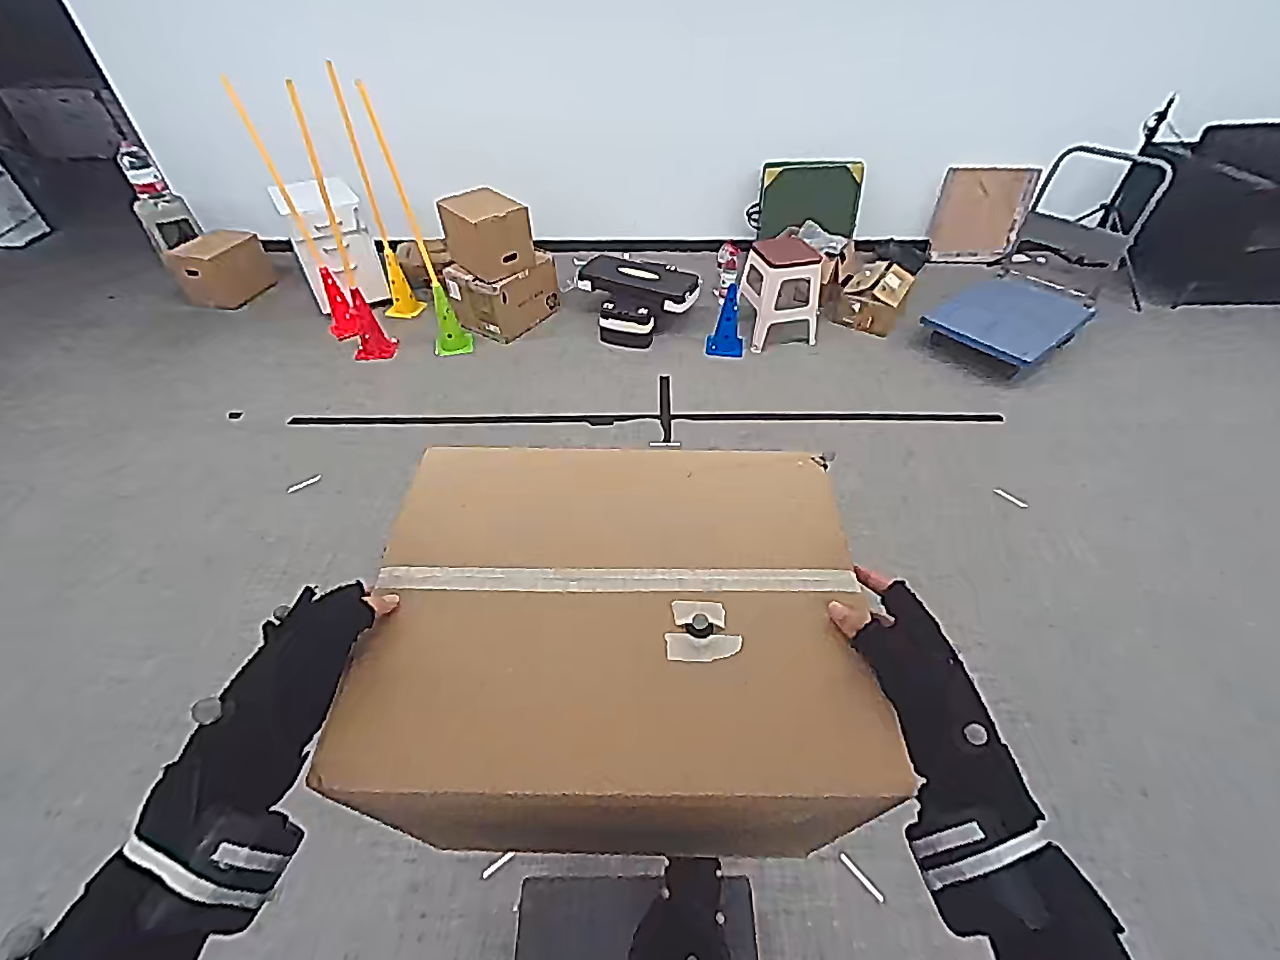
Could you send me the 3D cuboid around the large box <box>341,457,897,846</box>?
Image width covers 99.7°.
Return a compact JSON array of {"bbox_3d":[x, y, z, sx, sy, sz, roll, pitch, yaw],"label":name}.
[{"bbox_3d":[-0.017,0.190,0.588,0.408,0.320,0.320,1,49,0],"label":"large box"}]
